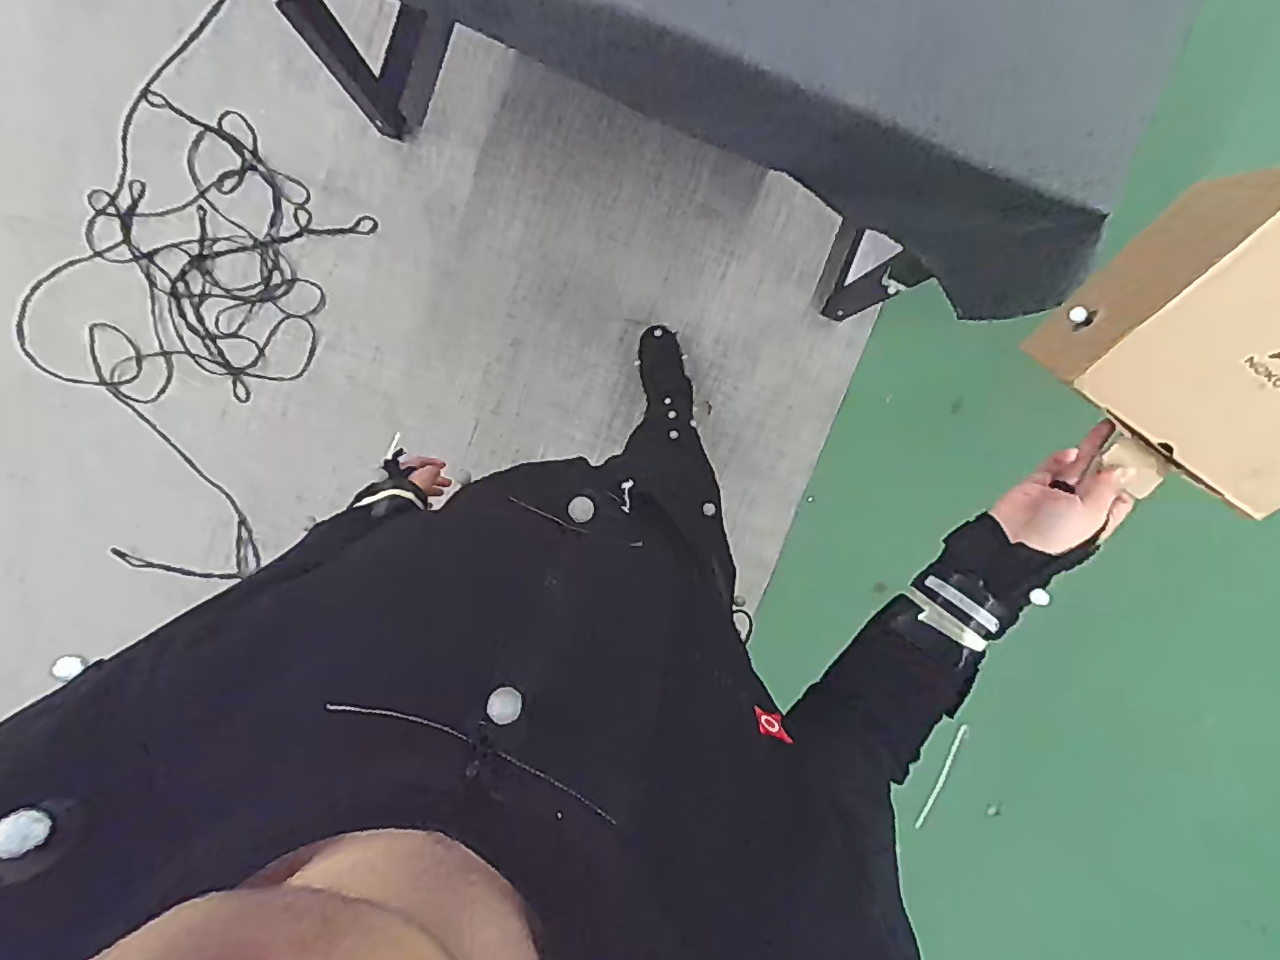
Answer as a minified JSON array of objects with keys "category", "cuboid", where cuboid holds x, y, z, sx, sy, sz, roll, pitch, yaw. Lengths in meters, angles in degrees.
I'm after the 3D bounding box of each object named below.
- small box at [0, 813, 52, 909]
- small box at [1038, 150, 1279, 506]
[{"category":"small box","cuboid":[-1.594,0.956,1.292,0.168,0.176,0.179,40,92,-5]},{"category":"small box","cuboid":[0.449,-0.119,0.413,0.168,0.176,0.179,38,121,2]}]
